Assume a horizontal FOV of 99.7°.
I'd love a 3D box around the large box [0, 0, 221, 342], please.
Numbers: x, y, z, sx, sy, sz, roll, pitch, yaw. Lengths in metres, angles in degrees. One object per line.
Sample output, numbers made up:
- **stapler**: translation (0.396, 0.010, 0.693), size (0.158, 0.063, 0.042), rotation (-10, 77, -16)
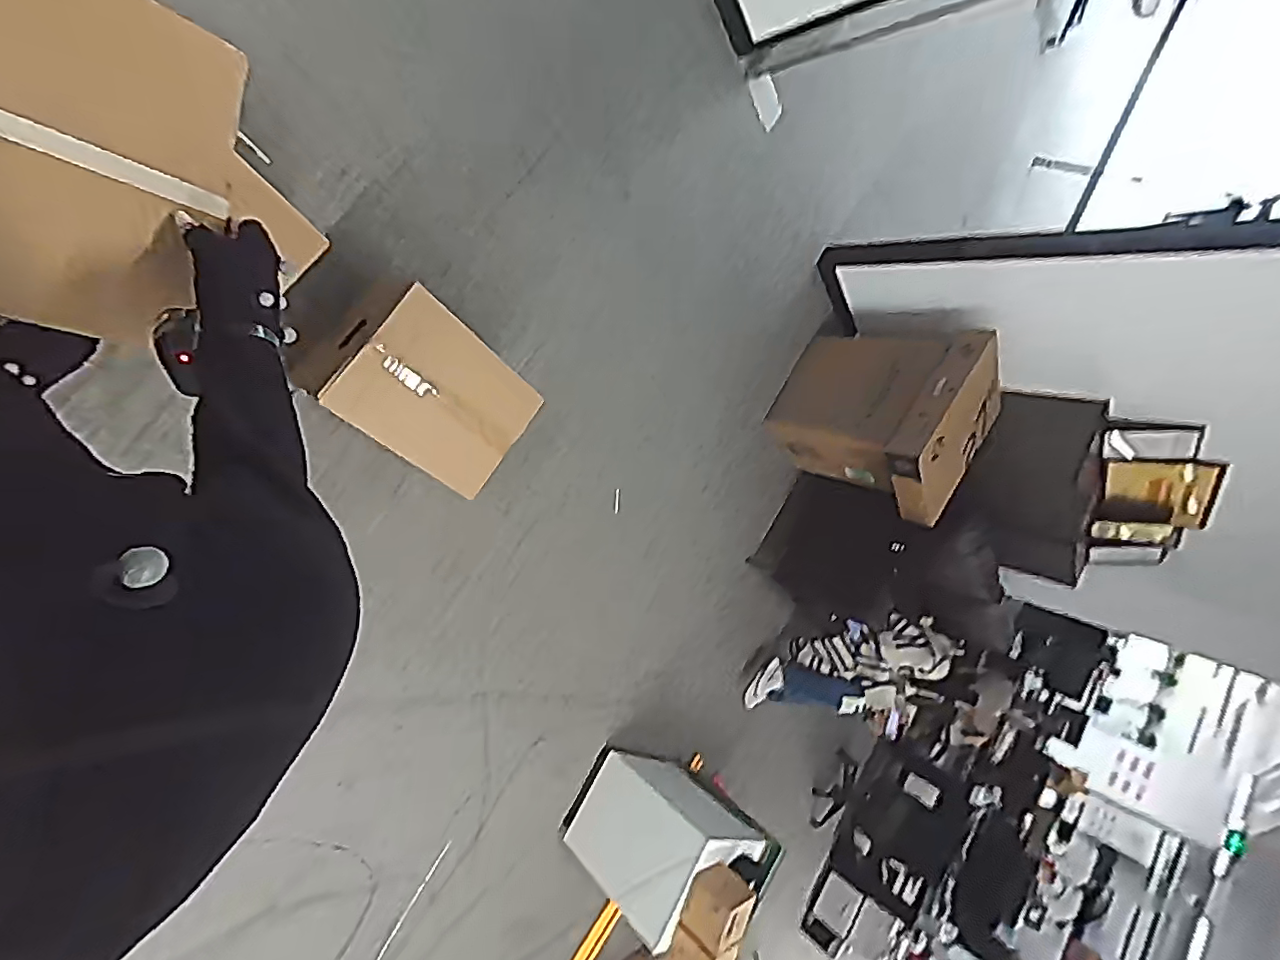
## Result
- **large box**: translation (-0.678, -0.345, 0.502), size (0.408, 0.320, 0.320), rotation (9, 98, -46)
